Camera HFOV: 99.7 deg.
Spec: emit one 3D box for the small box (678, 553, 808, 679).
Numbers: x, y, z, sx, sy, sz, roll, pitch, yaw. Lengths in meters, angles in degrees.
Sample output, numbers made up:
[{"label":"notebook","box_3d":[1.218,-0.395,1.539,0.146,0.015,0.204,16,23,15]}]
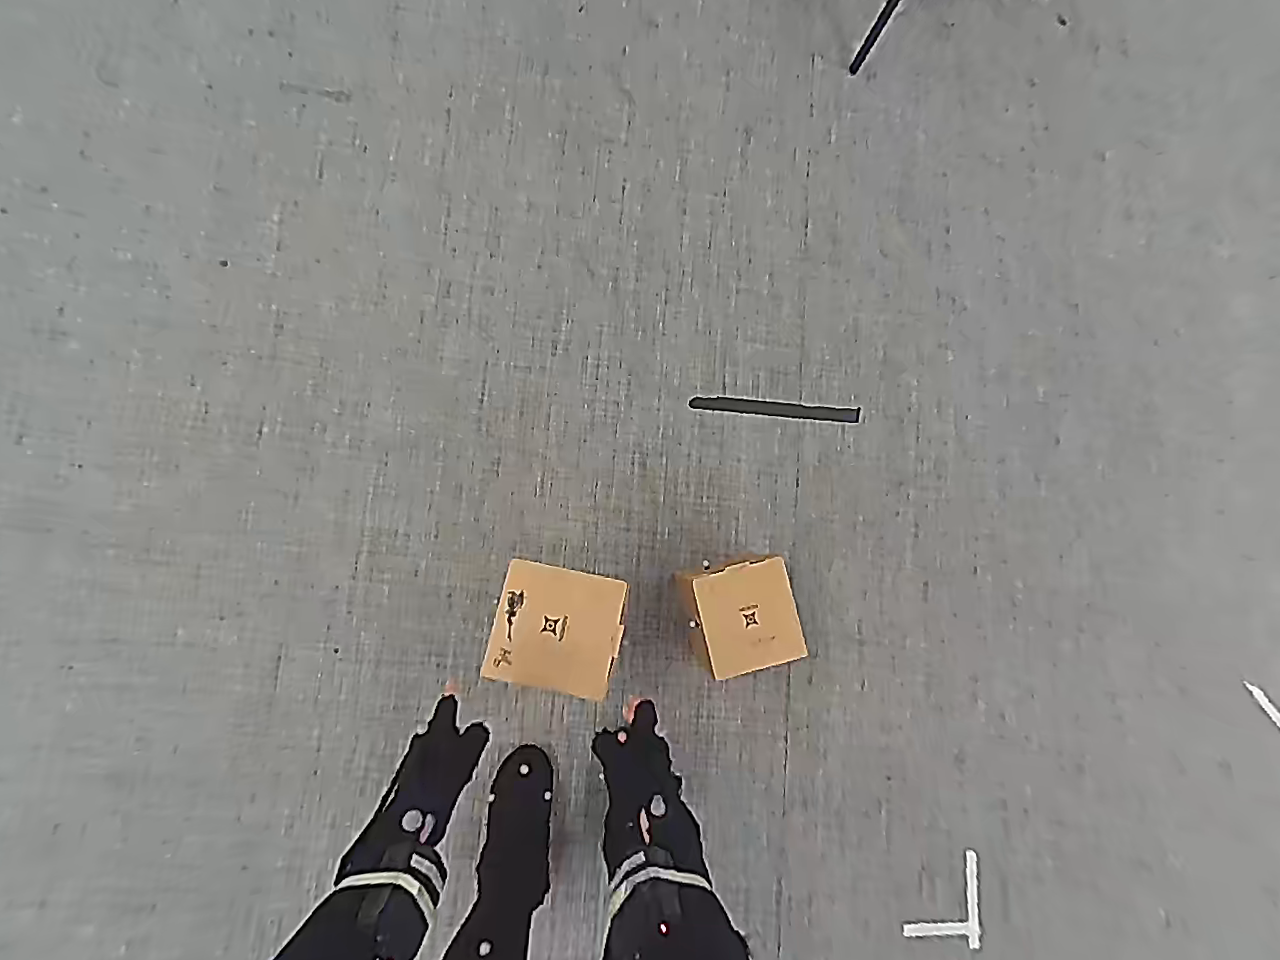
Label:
[{"label":"small box","box_3d":[0.176,0.236,0.983,0.168,0.176,0.179,-14,85,-7]}]
